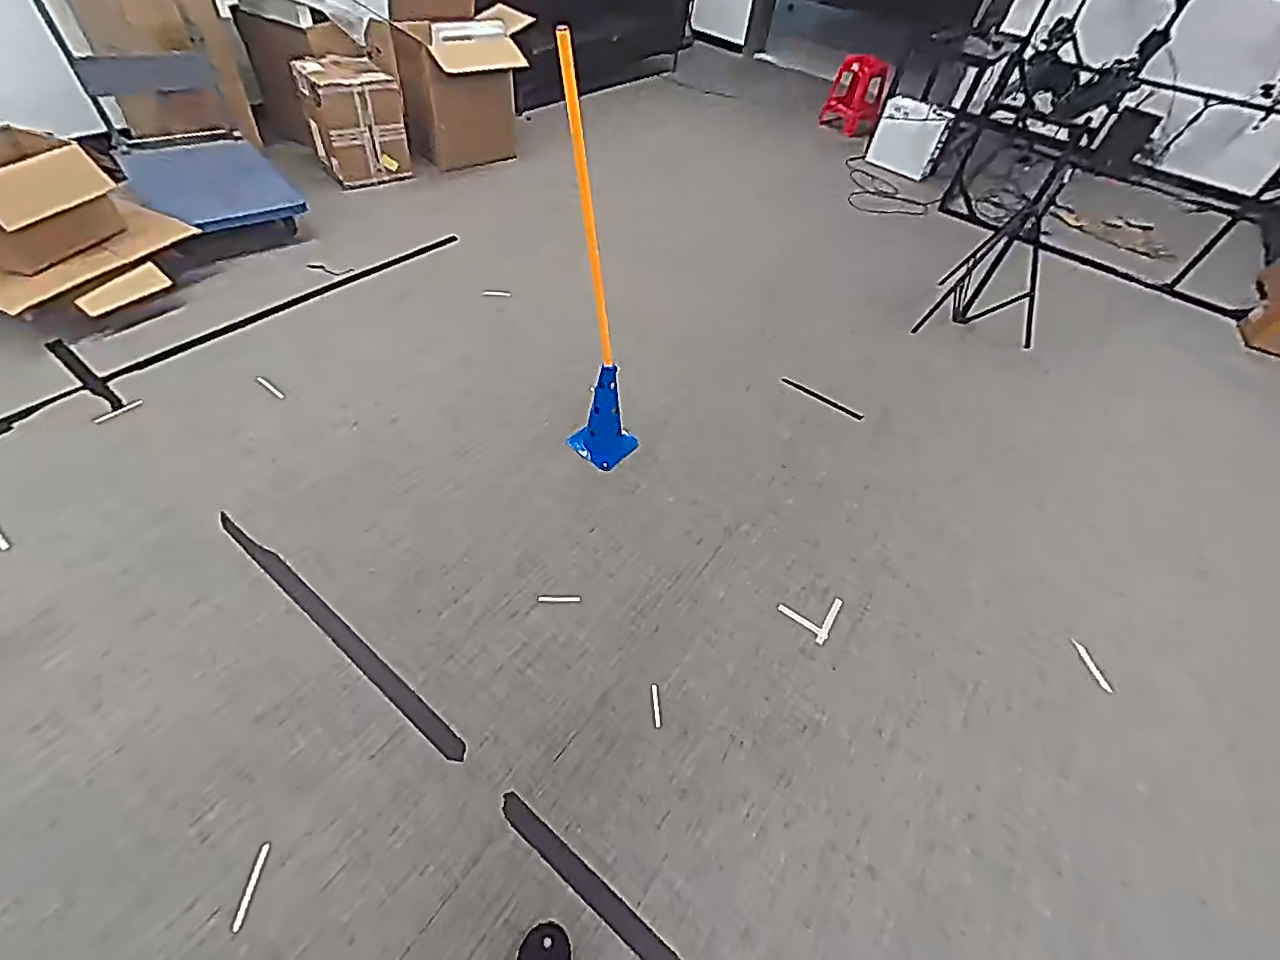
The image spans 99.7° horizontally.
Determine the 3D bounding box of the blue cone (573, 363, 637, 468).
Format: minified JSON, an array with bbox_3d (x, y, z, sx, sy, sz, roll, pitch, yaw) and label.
[{"bbox_3d":[-0.108,-0.241,1.828,0.192,0.380,0.193,36,55,20],"label":"blue cone"}]
